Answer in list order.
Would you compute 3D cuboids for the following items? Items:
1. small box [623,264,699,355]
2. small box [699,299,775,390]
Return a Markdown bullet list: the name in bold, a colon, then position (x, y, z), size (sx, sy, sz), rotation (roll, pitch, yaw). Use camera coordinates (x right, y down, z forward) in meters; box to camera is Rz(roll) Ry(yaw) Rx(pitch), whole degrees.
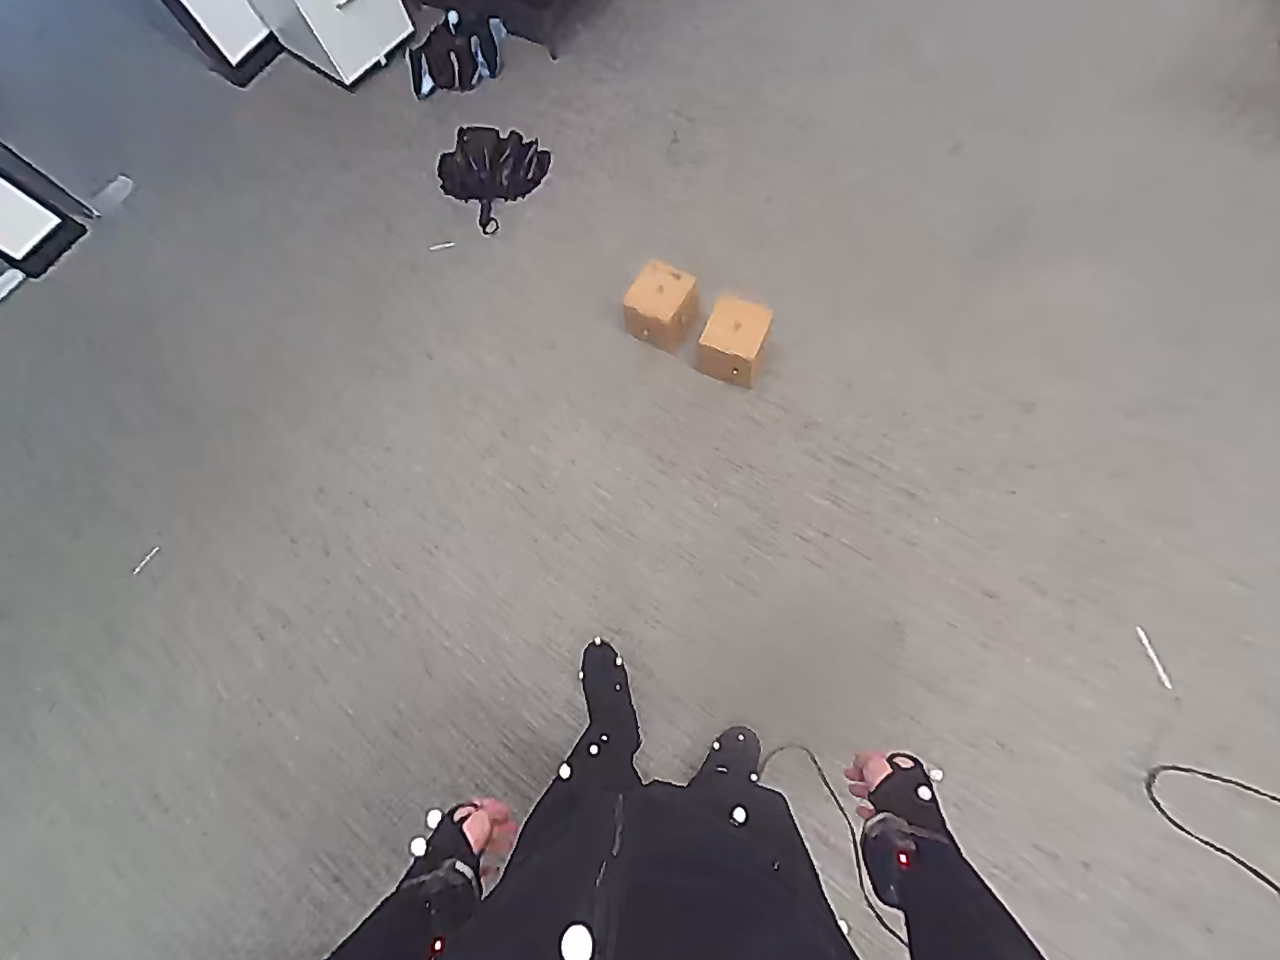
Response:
- **small box**: position (0.072, -0.518, 1.664), size (0.168, 0.176, 0.179), rotation (29, 77, 17)
- **small box**: position (0.283, -0.392, 1.588), size (0.168, 0.176, 0.179), rotation (21, 73, 14)
